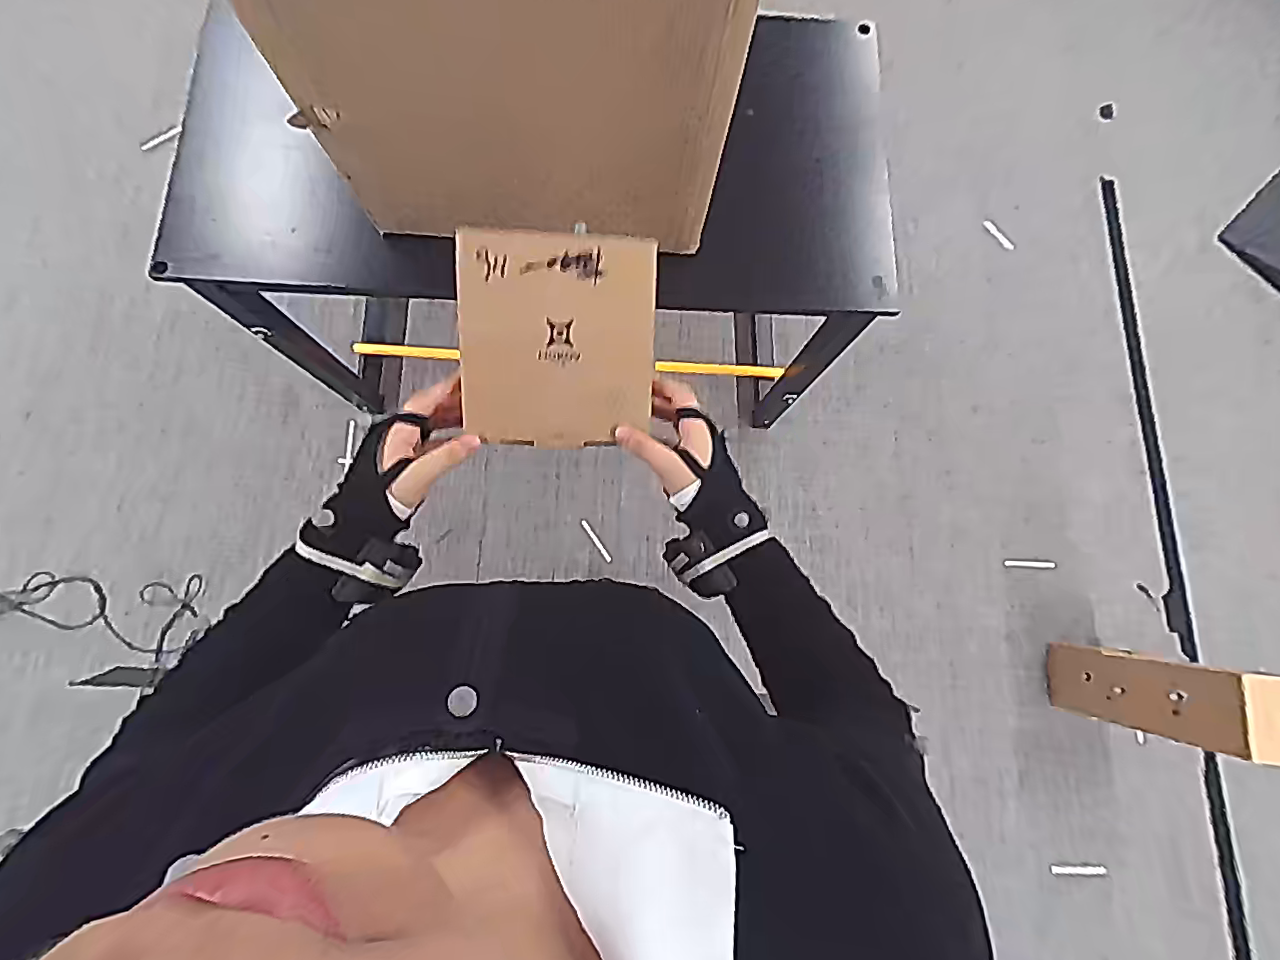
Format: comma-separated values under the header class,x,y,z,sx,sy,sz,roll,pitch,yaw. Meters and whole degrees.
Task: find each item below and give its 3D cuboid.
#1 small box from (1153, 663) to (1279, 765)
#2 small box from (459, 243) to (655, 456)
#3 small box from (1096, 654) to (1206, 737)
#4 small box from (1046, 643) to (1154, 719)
class,x,y,z,sx,sy,sz,roll,pitch,yaw
small box,1.243,0.485,1.133,0.179,0.176,0.168,6,78,-1
small box,-0.080,-0.126,0.547,0.168,0.176,0.179,0,103,-7
small box,1.248,0.516,1.293,0.179,0.176,0.168,6,79,-2
small box,1.234,0.541,1.456,0.168,0.176,0.179,6,79,-2
